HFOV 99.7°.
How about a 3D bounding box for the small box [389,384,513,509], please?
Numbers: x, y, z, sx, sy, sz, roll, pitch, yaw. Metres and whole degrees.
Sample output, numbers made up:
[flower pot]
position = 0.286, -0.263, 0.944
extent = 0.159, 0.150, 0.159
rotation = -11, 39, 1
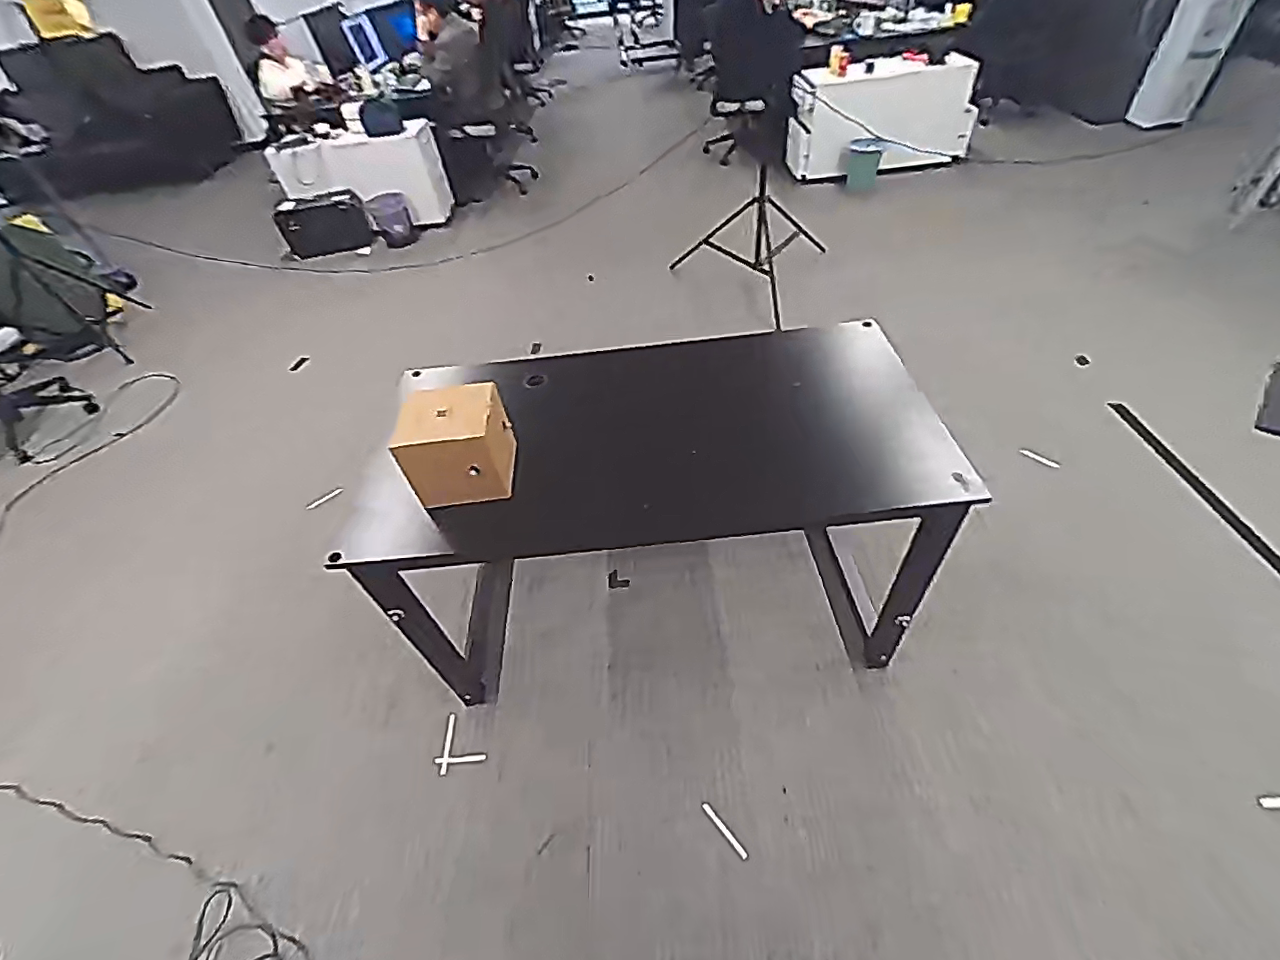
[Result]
[small box]
position = -0.358, -0.064, 1.064
extent = 0.179, 0.176, 0.168
rotation = -8, 45, 1
